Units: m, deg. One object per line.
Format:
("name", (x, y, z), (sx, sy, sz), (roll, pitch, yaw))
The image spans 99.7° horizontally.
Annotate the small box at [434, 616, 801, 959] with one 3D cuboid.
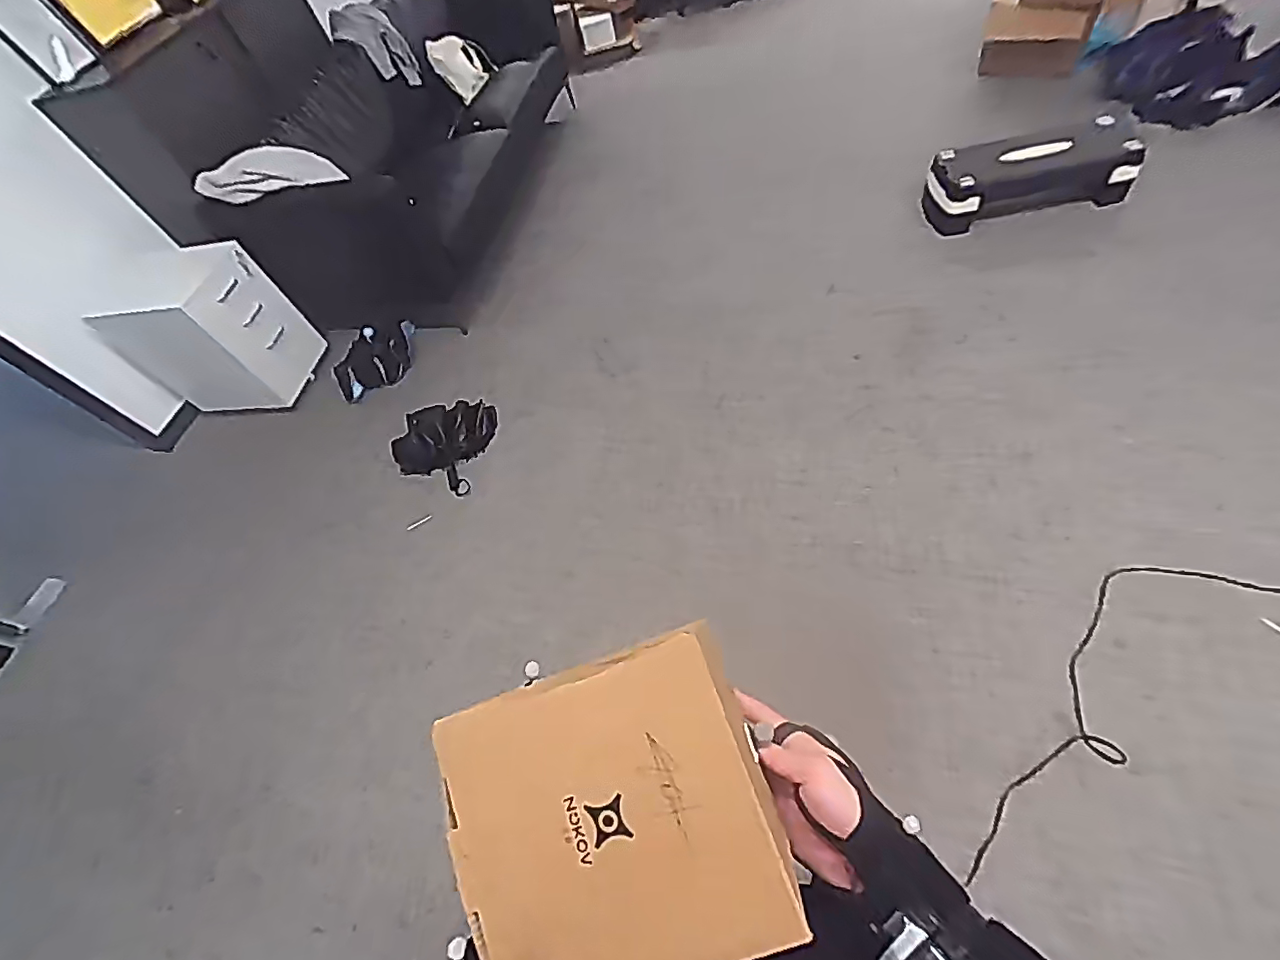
("small box", (-0.008, 0.205, 0.383), (0.179, 0.176, 0.168), (-23, 76, 4))
